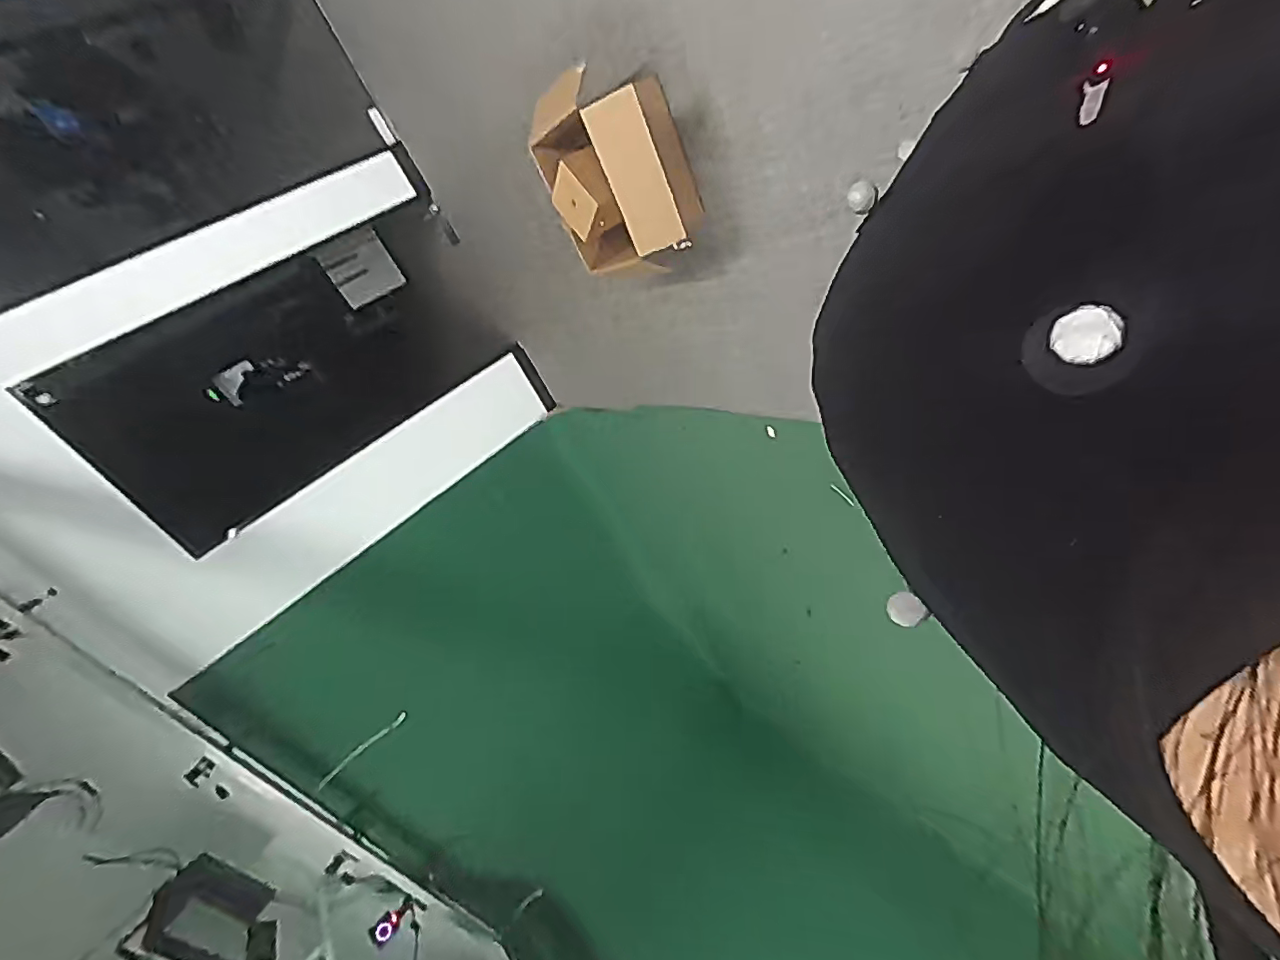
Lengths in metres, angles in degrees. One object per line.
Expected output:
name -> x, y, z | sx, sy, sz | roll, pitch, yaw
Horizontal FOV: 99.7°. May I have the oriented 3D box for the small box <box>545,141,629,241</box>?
small box -> -0.158, -0.869, 1.627 | 0.168, 0.176, 0.179 | 50, 156, -3
